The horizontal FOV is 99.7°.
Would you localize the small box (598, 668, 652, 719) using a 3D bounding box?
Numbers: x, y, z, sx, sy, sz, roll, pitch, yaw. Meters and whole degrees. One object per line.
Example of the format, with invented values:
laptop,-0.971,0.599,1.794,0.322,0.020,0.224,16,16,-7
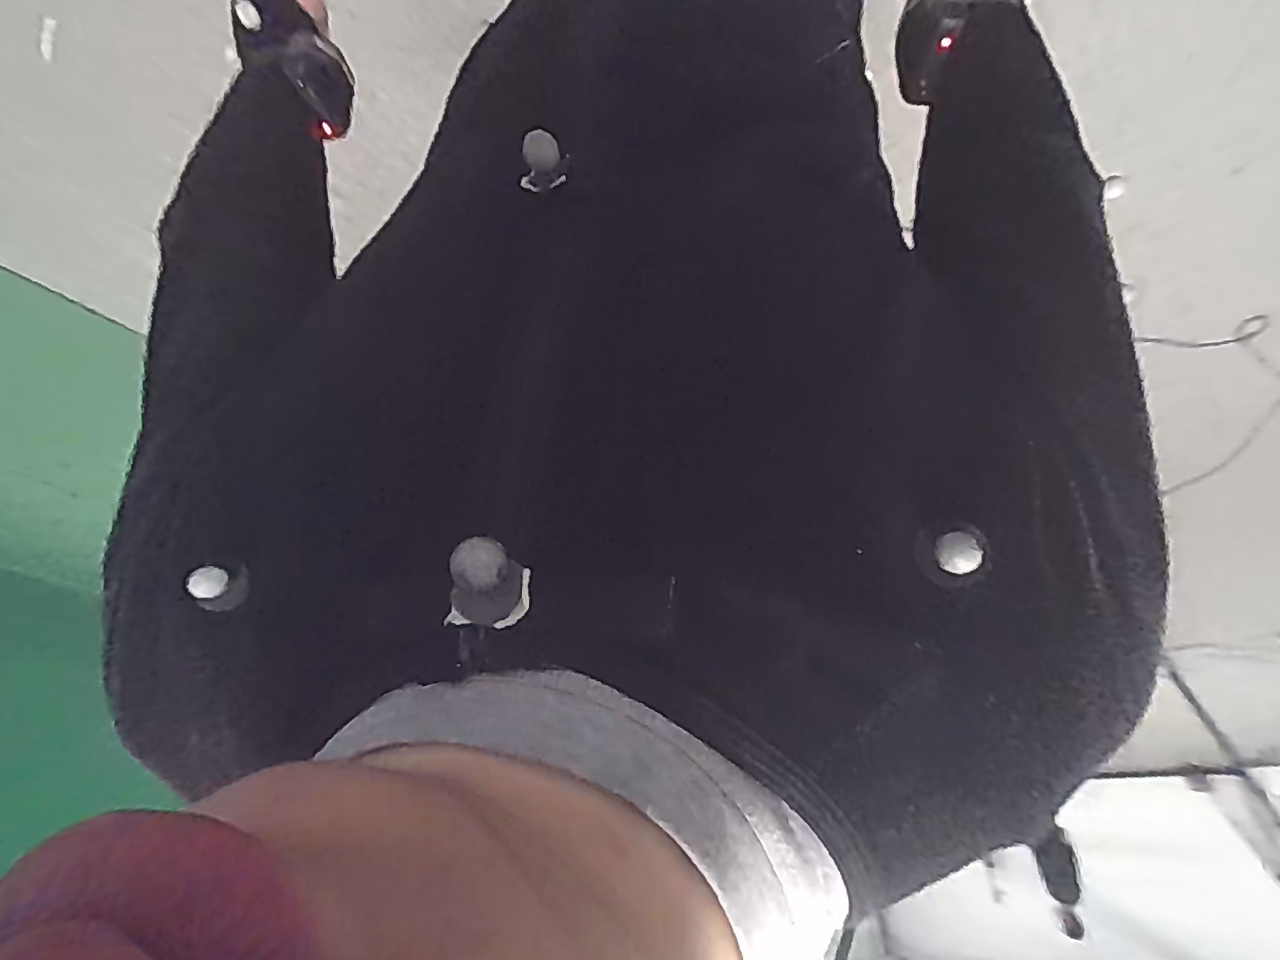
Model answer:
small box,-0.065,0.940,2.380,0.168,0.176,0.179,29,138,-31
